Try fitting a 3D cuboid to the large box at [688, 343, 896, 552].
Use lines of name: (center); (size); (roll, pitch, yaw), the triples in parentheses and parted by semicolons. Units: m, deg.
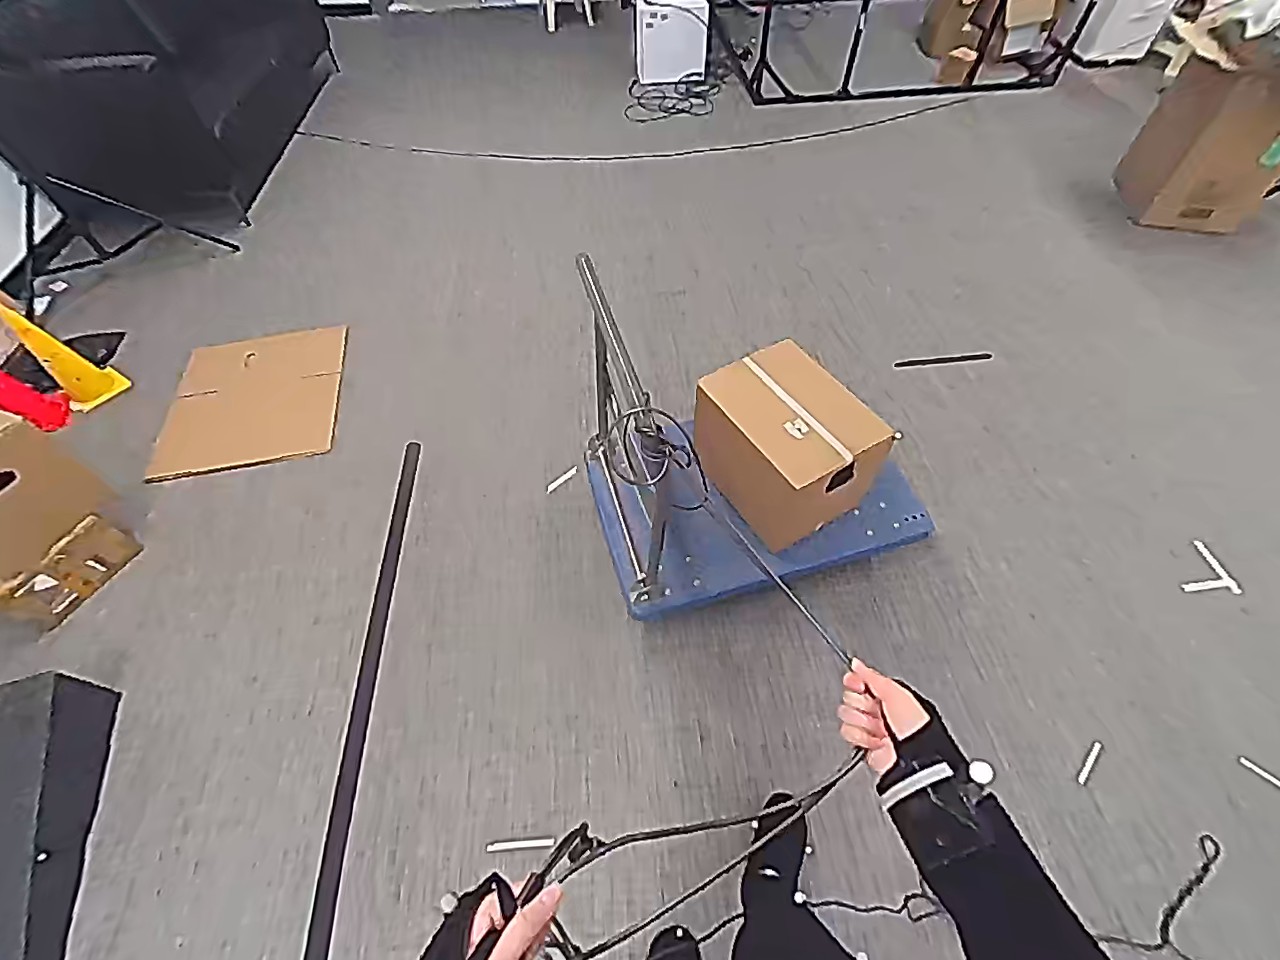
large box: (0.373, -0.089, 1.448); (0.320, 0.320, 0.408); (-27, 59, -16)
